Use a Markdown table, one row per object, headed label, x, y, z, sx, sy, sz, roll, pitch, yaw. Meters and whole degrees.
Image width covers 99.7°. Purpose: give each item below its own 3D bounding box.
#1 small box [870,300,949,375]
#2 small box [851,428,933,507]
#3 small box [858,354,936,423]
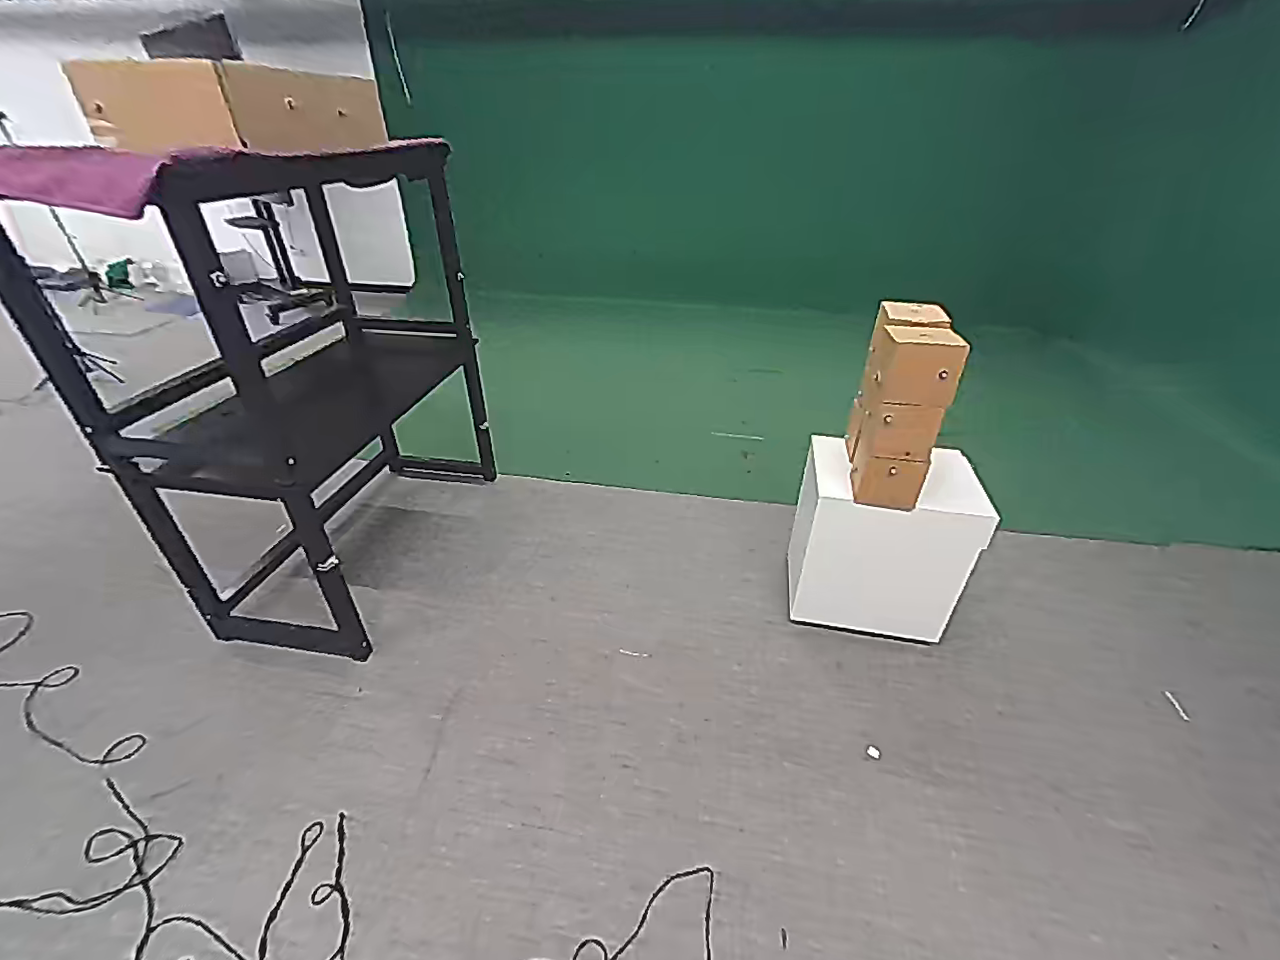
| label | x | y | z | sx | sy | sz | roll | pitch | yaw |
| --- | --- | --- | --- | --- | --- | --- | --- | --- | --- |
| small box | 0.805 | -0.428 | 1.630 | 0.168 | 0.176 | 0.179 | 8 | 36 | 11 |
| small box | 0.754 | -0.037 | 1.636 | 0.179 | 0.176 | 0.168 | 8 | 33 | 11 |
| small box | 0.813 | -0.295 | 1.726 | 0.179 | 0.176 | 0.168 | 8 | 35 | 11 |
